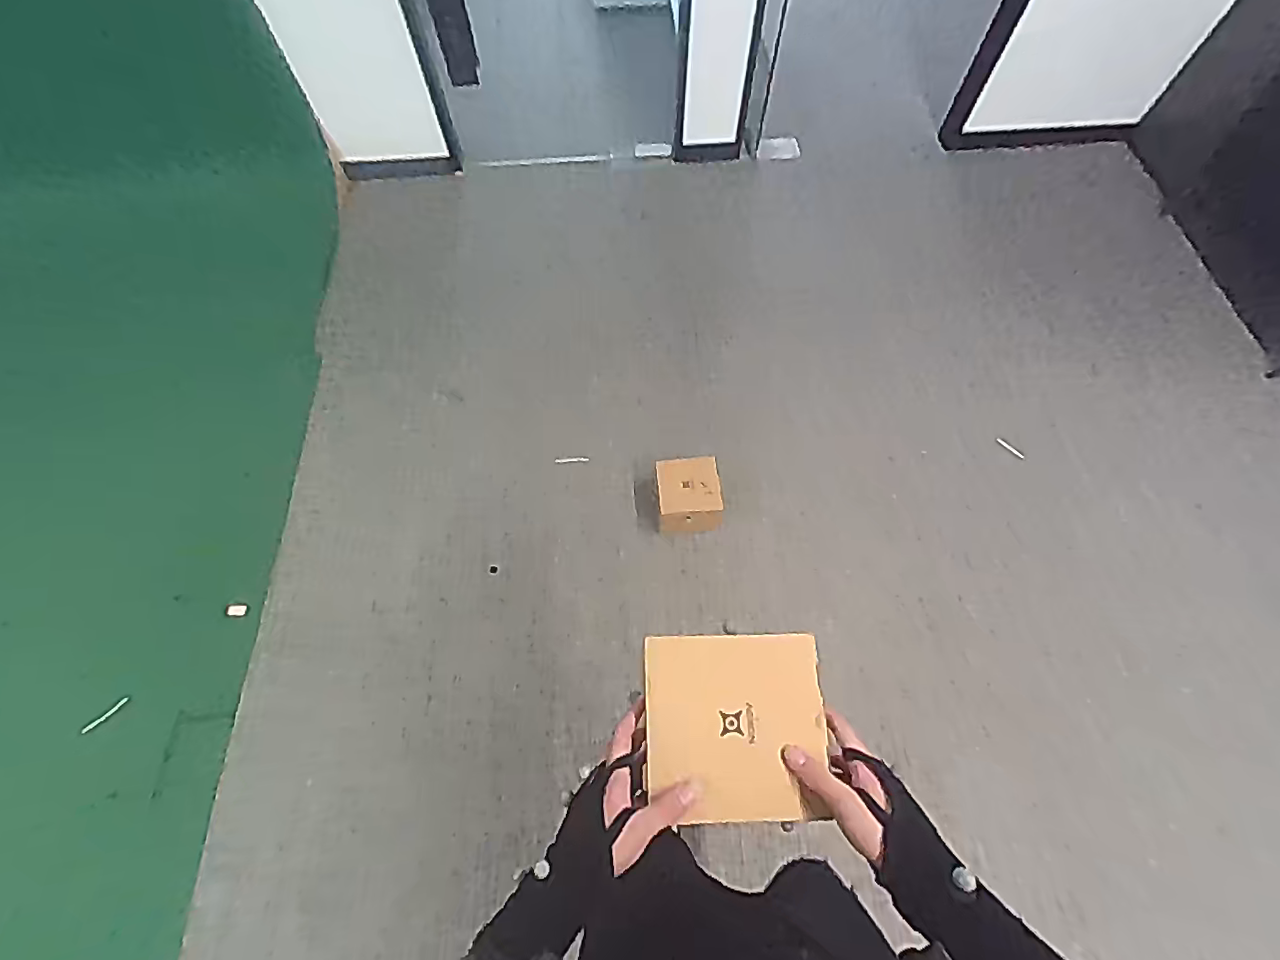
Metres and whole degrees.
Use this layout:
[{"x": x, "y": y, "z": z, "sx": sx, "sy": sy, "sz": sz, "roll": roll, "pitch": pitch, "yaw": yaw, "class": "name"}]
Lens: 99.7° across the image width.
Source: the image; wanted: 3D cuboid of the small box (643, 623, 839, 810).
[{"x": 0.092, "y": 0.249, "z": 0.589, "sx": 0.179, "sy": 0.176, "sz": 0.168, "roll": 0, "pitch": 70, "yaw": -2, "class": "small box"}]

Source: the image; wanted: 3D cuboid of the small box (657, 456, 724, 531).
[{"x": 0.142, "y": 0.045, "z": 1.580, "sx": 0.179, "sy": 0.176, "sz": 0.168, "roll": -4, "pitch": 65, "yaw": -2, "class": "small box"}]
